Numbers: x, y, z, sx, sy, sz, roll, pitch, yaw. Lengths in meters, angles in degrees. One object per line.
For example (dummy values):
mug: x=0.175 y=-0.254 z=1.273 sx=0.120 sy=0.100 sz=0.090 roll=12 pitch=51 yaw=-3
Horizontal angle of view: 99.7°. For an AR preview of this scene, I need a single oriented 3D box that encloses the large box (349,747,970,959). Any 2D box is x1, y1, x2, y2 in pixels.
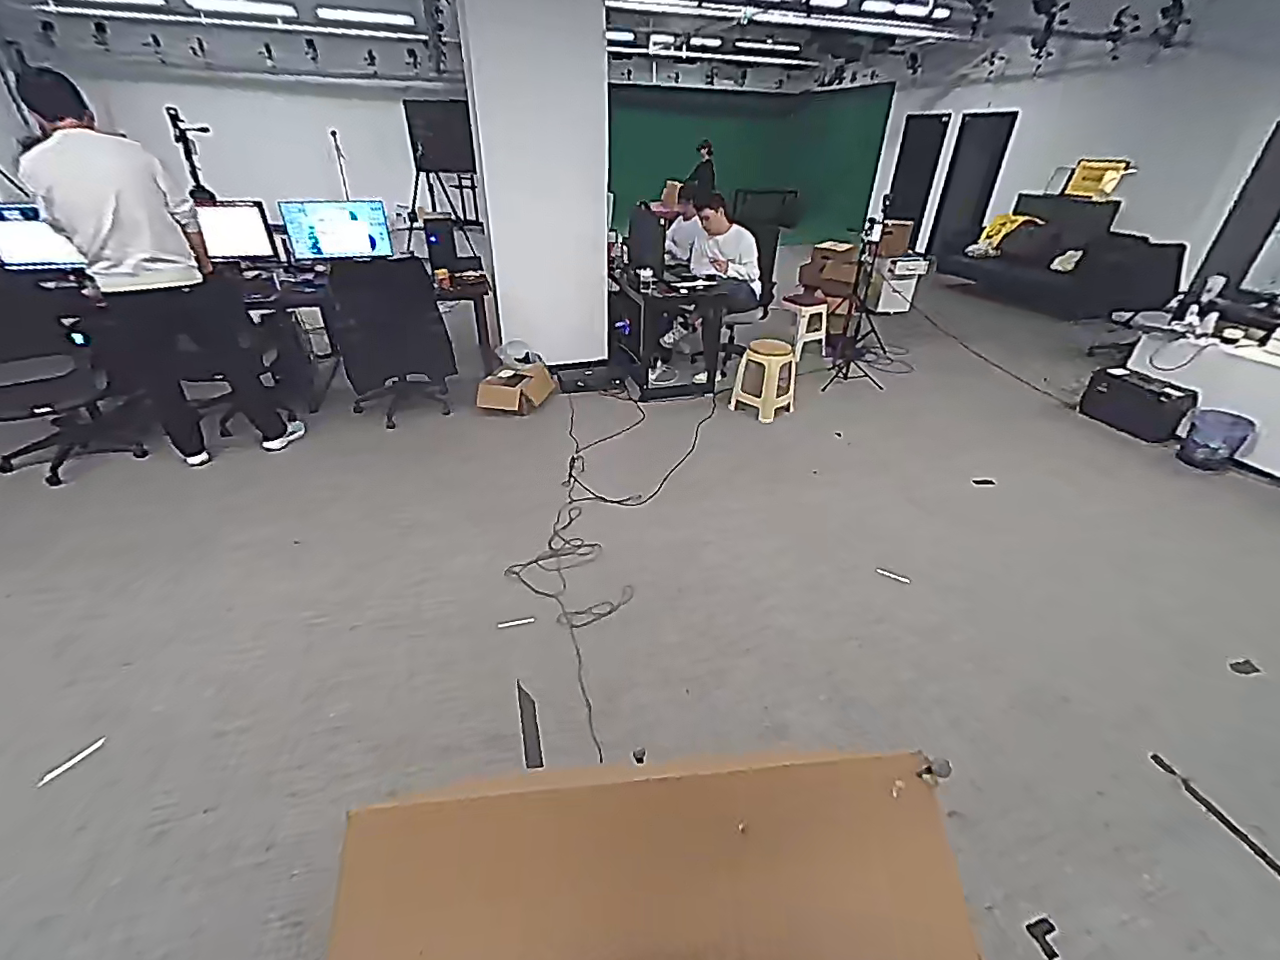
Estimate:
large box: x=0.015 y=0.420 z=0.459 sx=0.408 sy=0.320 sz=0.320 roll=-4 pitch=66 yaw=-4
